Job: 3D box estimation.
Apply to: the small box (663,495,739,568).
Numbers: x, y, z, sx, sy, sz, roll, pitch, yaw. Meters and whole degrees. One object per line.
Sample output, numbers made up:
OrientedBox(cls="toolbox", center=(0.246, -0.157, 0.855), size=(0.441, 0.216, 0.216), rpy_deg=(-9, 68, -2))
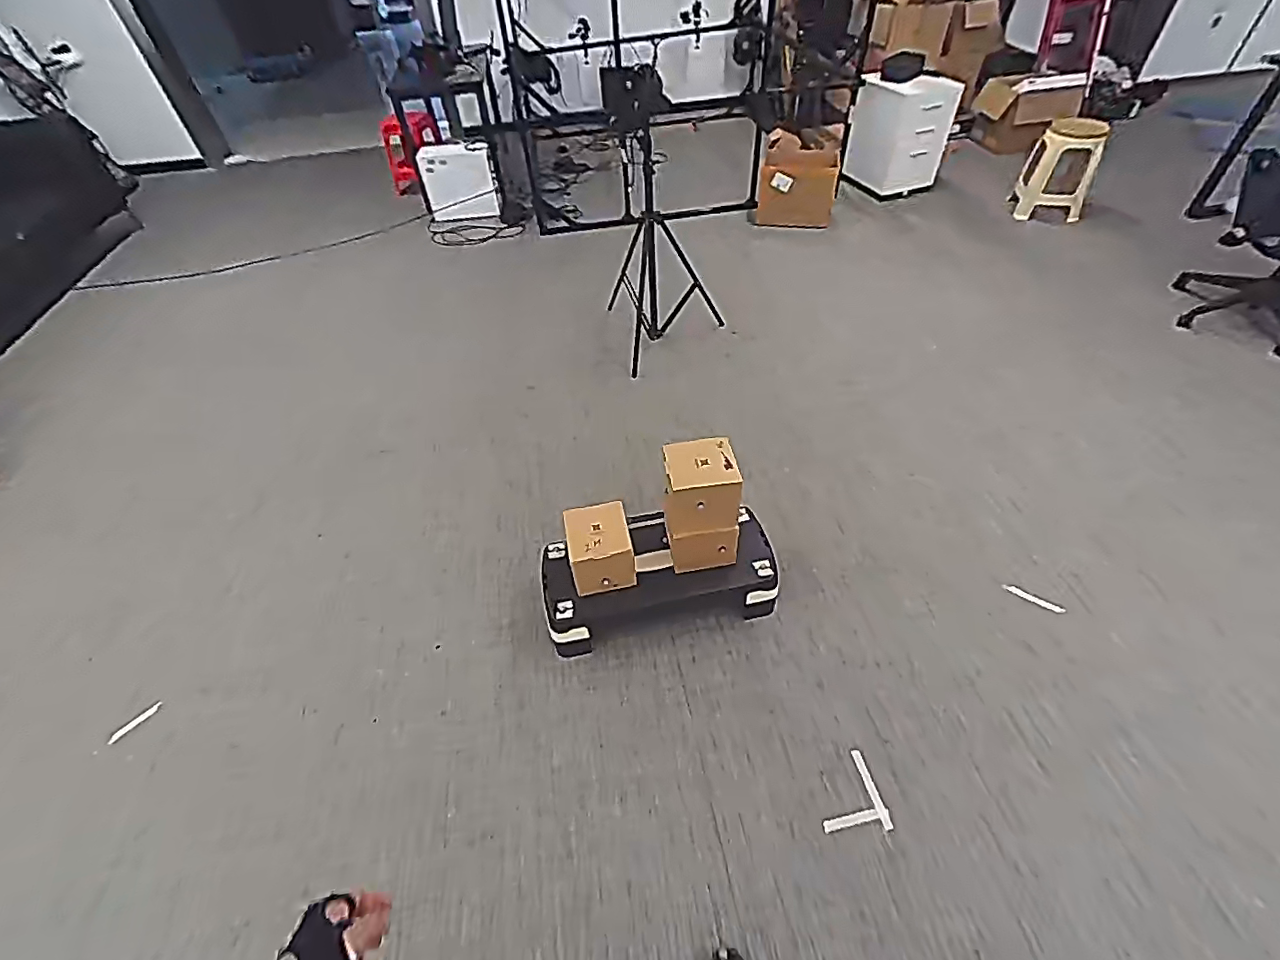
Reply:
OrientedBox(cls="small box", center=(0.164, 0.141, 1.512), size=(0.179, 0.176, 0.168), rpy_deg=(-10, 46, -5))

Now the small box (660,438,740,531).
OrientedBox(cls="small box", center=(0.154, 0.016, 1.406), size=(0.179, 0.176, 0.168), rpy_deg=(-8, 47, -2))

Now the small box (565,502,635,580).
OrientedBox(cls="small box", center=(-0.110, 0.191, 1.486), size=(0.168, 0.176, 0.179), rpy_deg=(-11, 48, -5))

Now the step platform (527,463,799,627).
OrientedBox(cls="step platform", center=(0.058, 0.171, 1.443), size=(0.684, 0.204, 0.286), rpy_deg=(-10, 47, -6))
